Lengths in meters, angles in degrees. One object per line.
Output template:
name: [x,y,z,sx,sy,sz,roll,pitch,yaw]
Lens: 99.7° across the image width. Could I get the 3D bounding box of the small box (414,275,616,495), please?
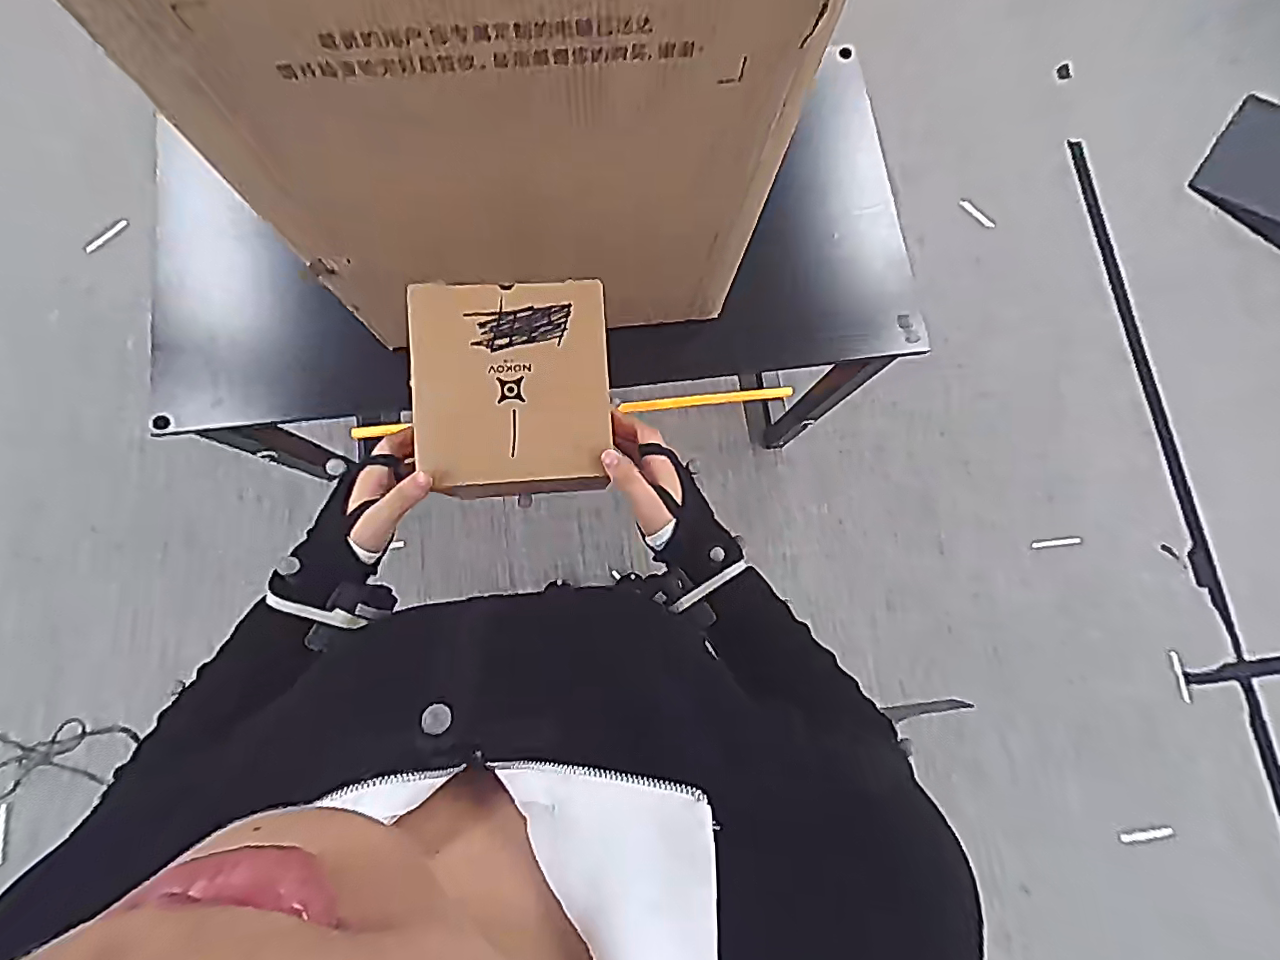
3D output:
small box: [-0.116,-0.082,0.541,0.168,0.176,0.179,-4,85,-6]
